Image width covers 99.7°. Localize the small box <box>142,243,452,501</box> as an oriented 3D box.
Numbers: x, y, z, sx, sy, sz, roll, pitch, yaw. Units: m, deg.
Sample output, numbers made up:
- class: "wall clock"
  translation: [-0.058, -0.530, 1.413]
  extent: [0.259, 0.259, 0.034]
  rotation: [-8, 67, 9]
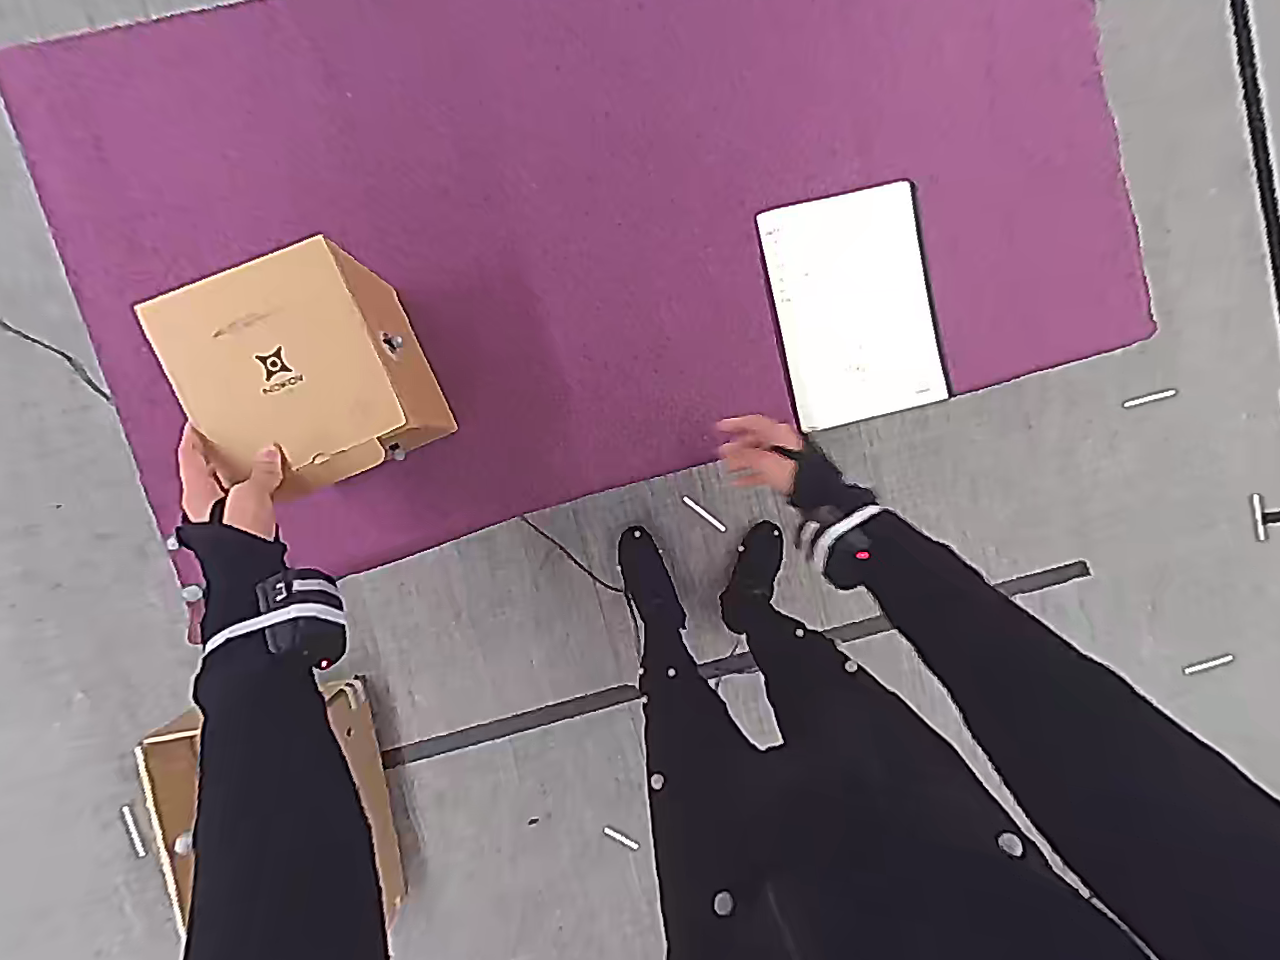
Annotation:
- class: "small box"
  translation: [-0.312, -0.097, 0.537]
  extent: [0.168, 0.176, 0.179]
  rotation: [-23, 95, -3]
